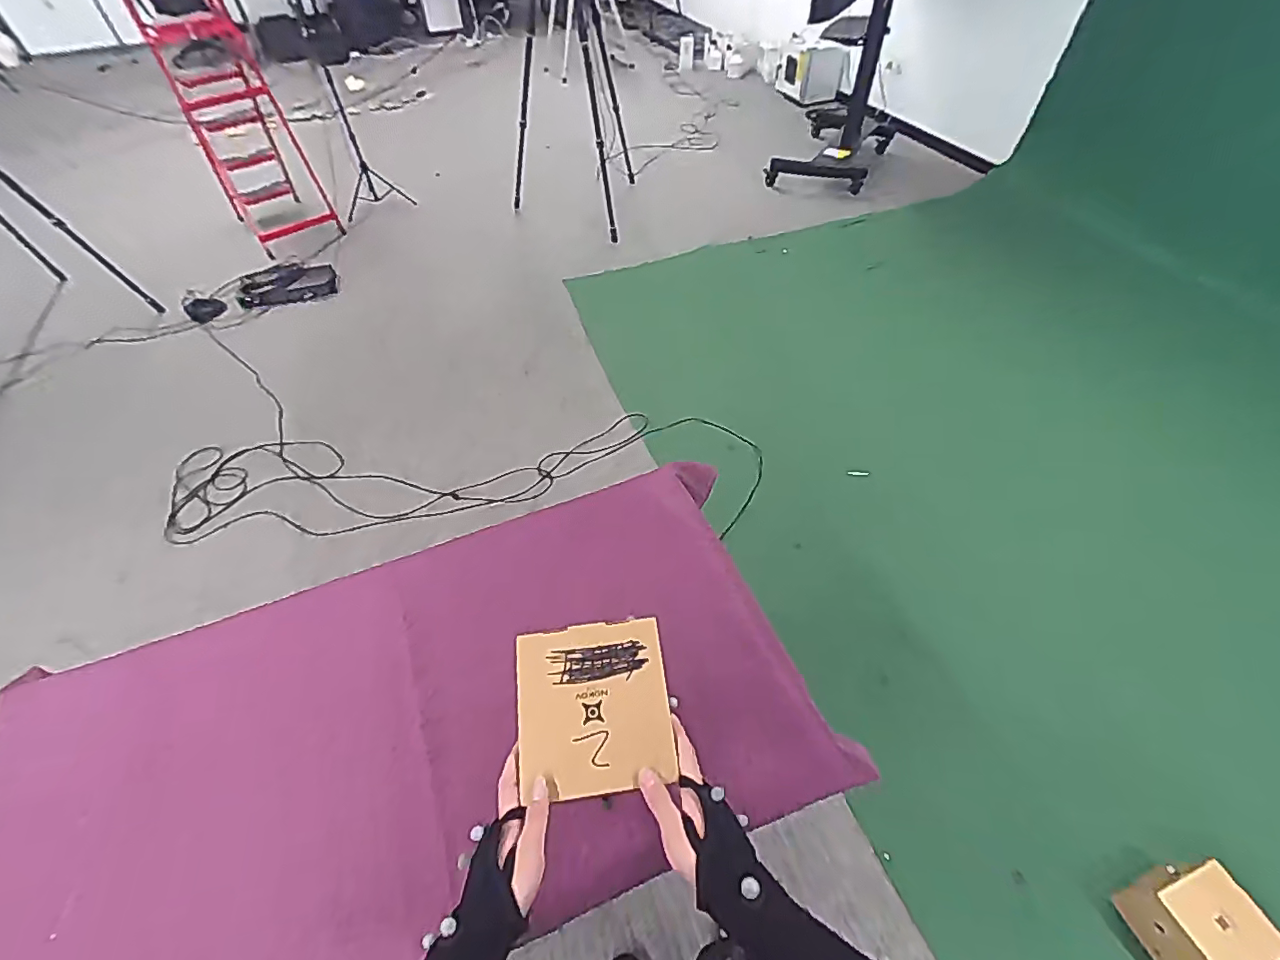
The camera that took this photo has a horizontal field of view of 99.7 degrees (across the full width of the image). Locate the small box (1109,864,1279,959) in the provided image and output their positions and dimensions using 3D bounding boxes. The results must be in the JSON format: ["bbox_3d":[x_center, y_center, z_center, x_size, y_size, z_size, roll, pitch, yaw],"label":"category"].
[{"bbox_3d":[1.176,0.966,1.165,0.179,0.176,0.168,-17,52,-14],"label":"small box"}]
